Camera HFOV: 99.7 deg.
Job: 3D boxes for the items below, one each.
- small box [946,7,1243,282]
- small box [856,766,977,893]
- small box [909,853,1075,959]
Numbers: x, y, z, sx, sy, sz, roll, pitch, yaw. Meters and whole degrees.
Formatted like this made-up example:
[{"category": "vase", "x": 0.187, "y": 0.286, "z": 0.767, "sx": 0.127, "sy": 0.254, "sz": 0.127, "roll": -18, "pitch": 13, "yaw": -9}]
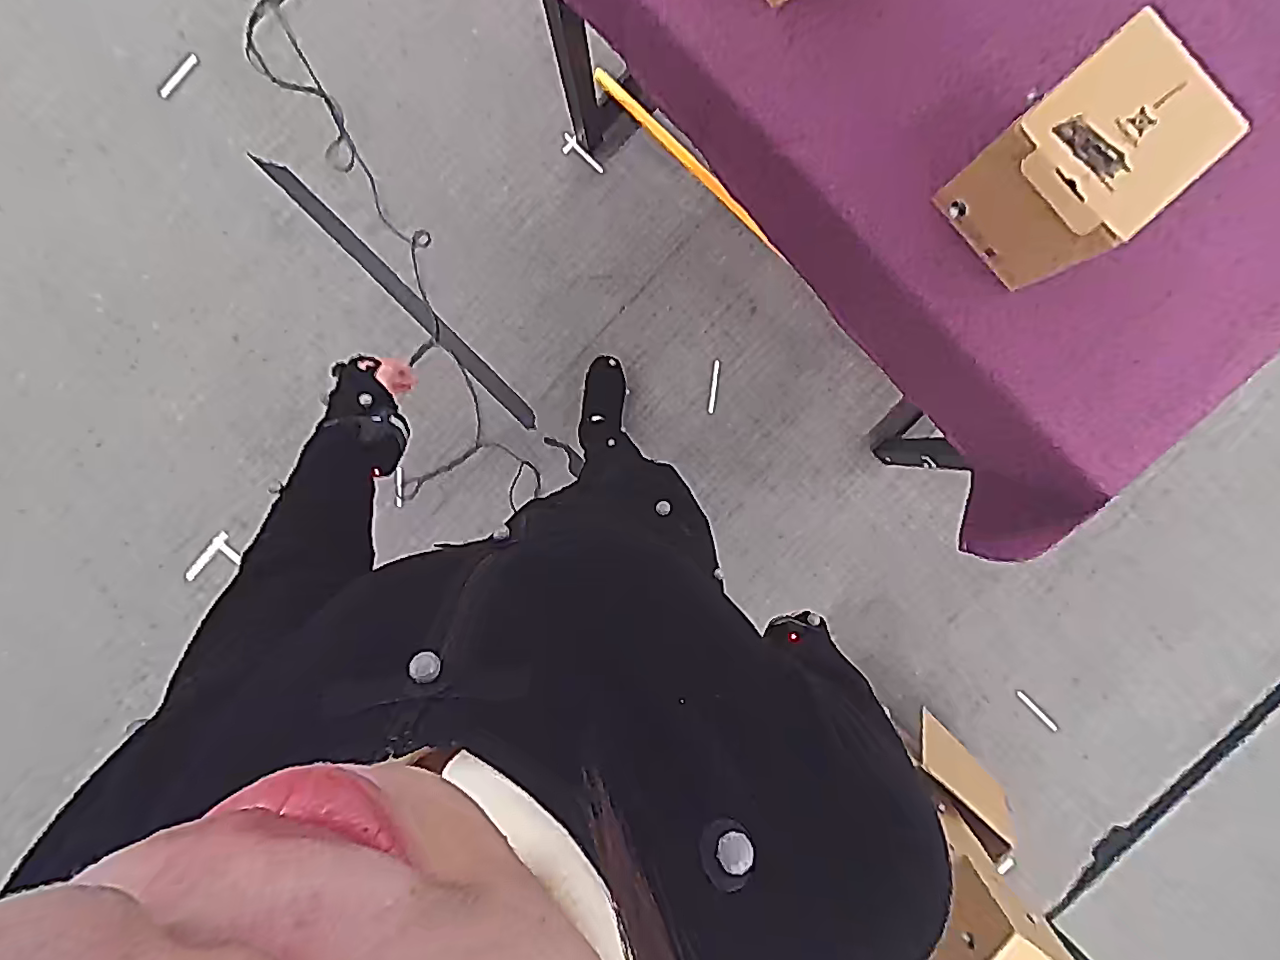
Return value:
[{"category": "small box", "x": 0.497, "y": -0.365, "z": 0.629, "sx": 0.179, "sy": 0.176, "sz": 0.168, "roll": -42, "pitch": 92, "yaw": 2}, {"category": "small box", "x": 0.631, "y": 0.812, "z": 1.259, "sx": 0.168, "sy": 0.176, "sz": 0.179, "roll": 23, "pitch": 97, "yaw": 3}, {"category": "small box", "x": 0.604, "y": 0.802, "z": 0.929, "sx": 0.168, "sy": 0.176, "sz": 0.179, "roll": 37, "pitch": 97, "yaw": 3}]
